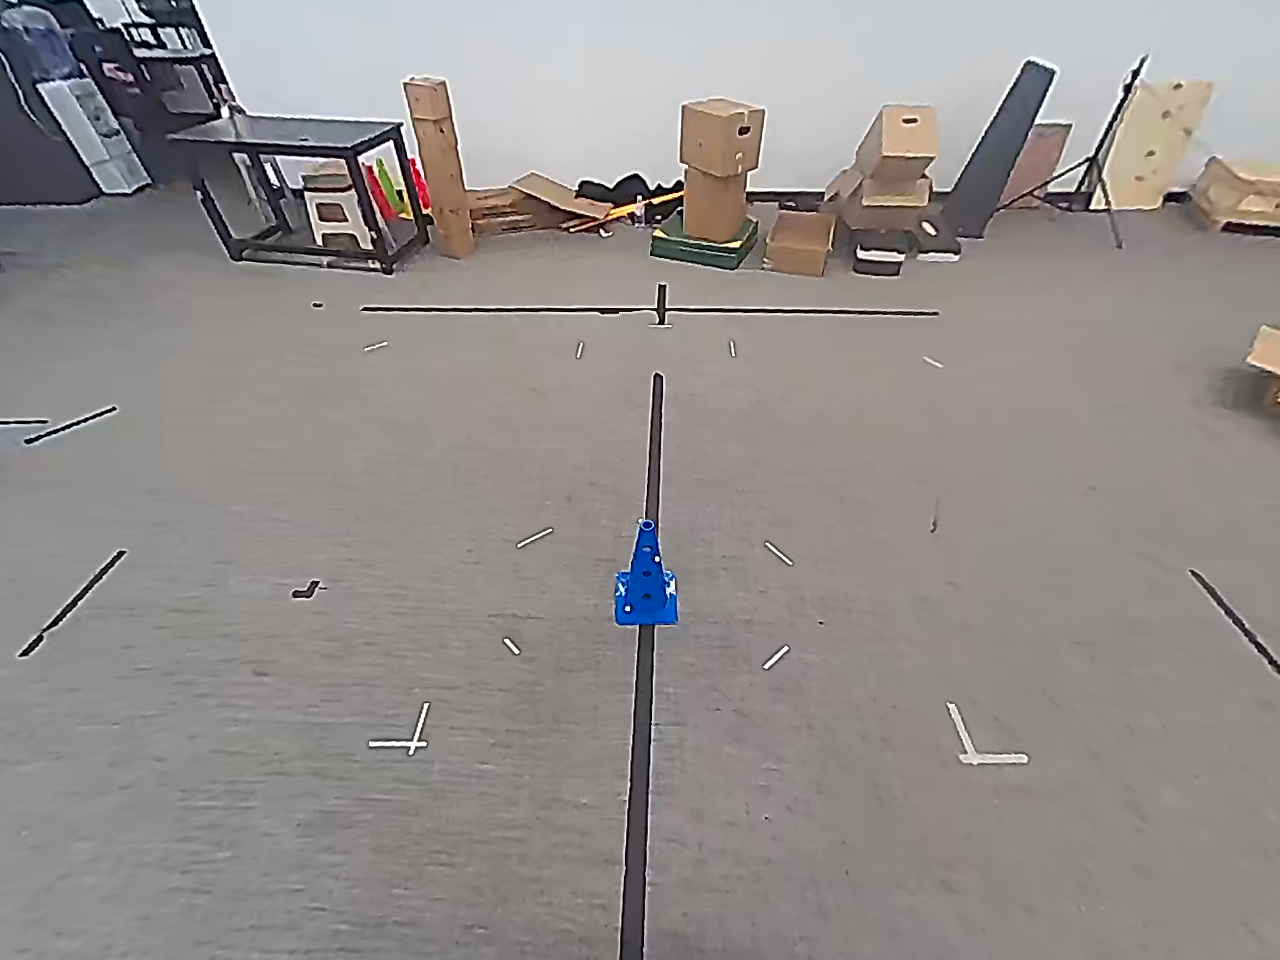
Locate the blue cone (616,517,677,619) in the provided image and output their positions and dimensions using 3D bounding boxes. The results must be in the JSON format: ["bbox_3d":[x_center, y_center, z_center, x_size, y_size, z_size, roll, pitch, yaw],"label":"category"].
[{"bbox_3d":[0.021,0.242,1.616,0.192,0.380,0.193,-2,46,-3],"label":"blue cone"}]
